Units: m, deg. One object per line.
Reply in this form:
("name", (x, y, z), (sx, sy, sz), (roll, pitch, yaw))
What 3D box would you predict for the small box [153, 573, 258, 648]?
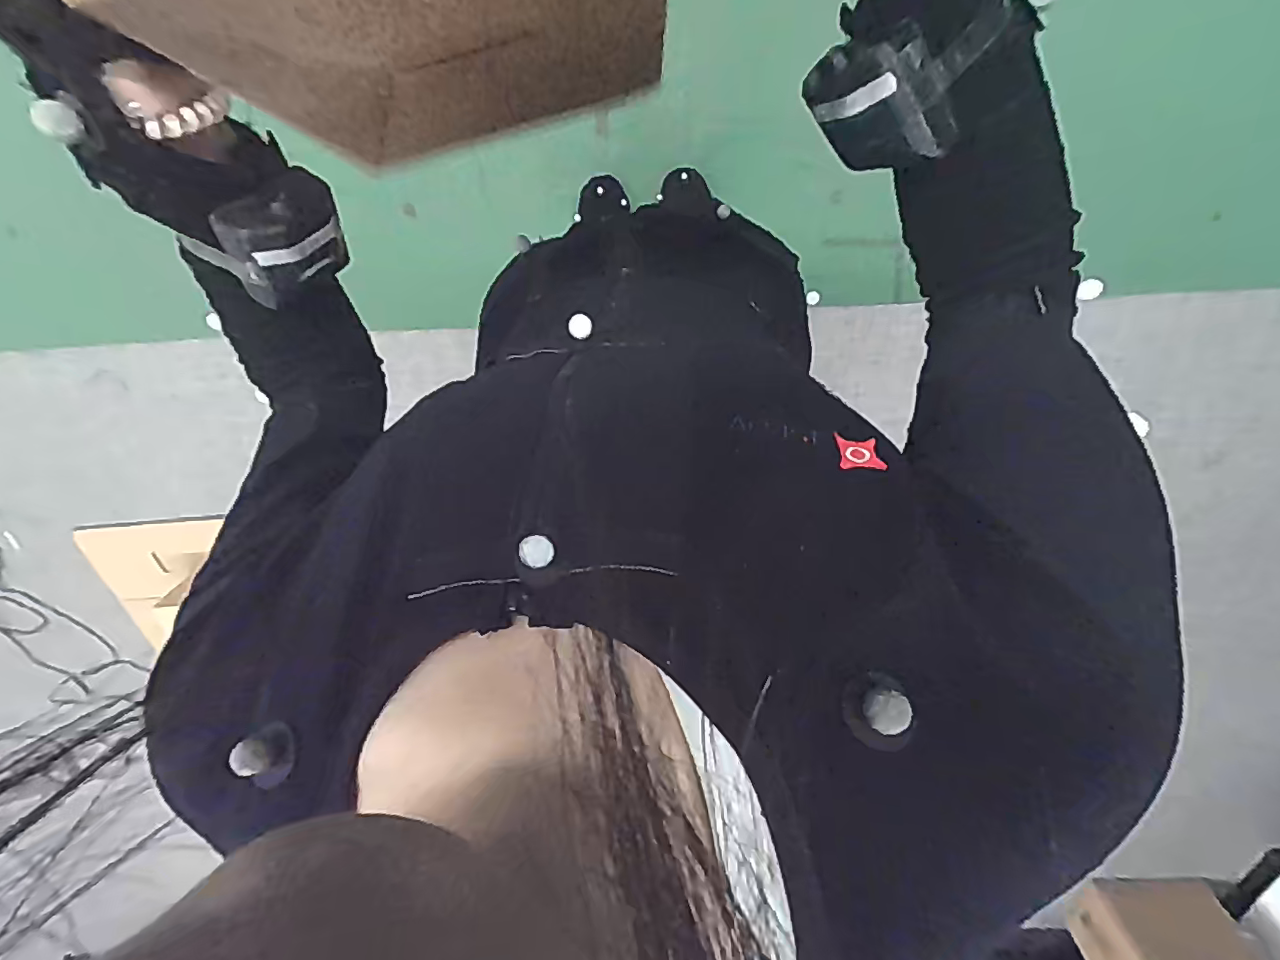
("small box", (-1.422, 0.427, 1.781), (0.179, 0.176, 0.168), (-7, 118, 4))
